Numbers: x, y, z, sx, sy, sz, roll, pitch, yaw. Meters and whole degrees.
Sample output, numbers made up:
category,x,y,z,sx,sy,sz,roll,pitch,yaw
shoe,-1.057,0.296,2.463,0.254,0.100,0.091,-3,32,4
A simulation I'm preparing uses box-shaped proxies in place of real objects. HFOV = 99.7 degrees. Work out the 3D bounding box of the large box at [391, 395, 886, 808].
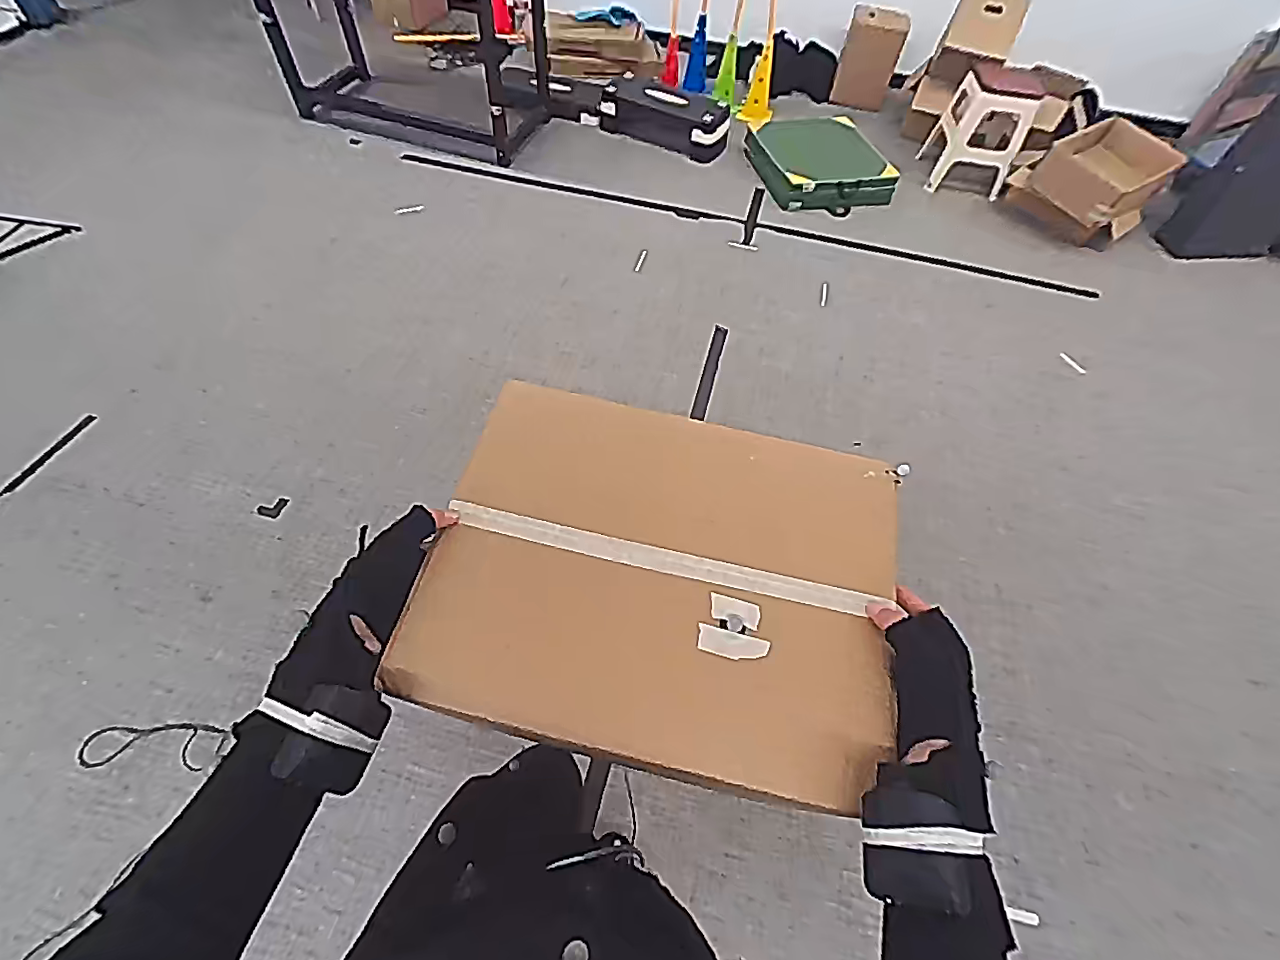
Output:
category,x,y,z,sx,sy,sz,roll,pitch,yaw
large box,0.013,0.149,0.620,0.408,0.320,0.320,13,63,3
